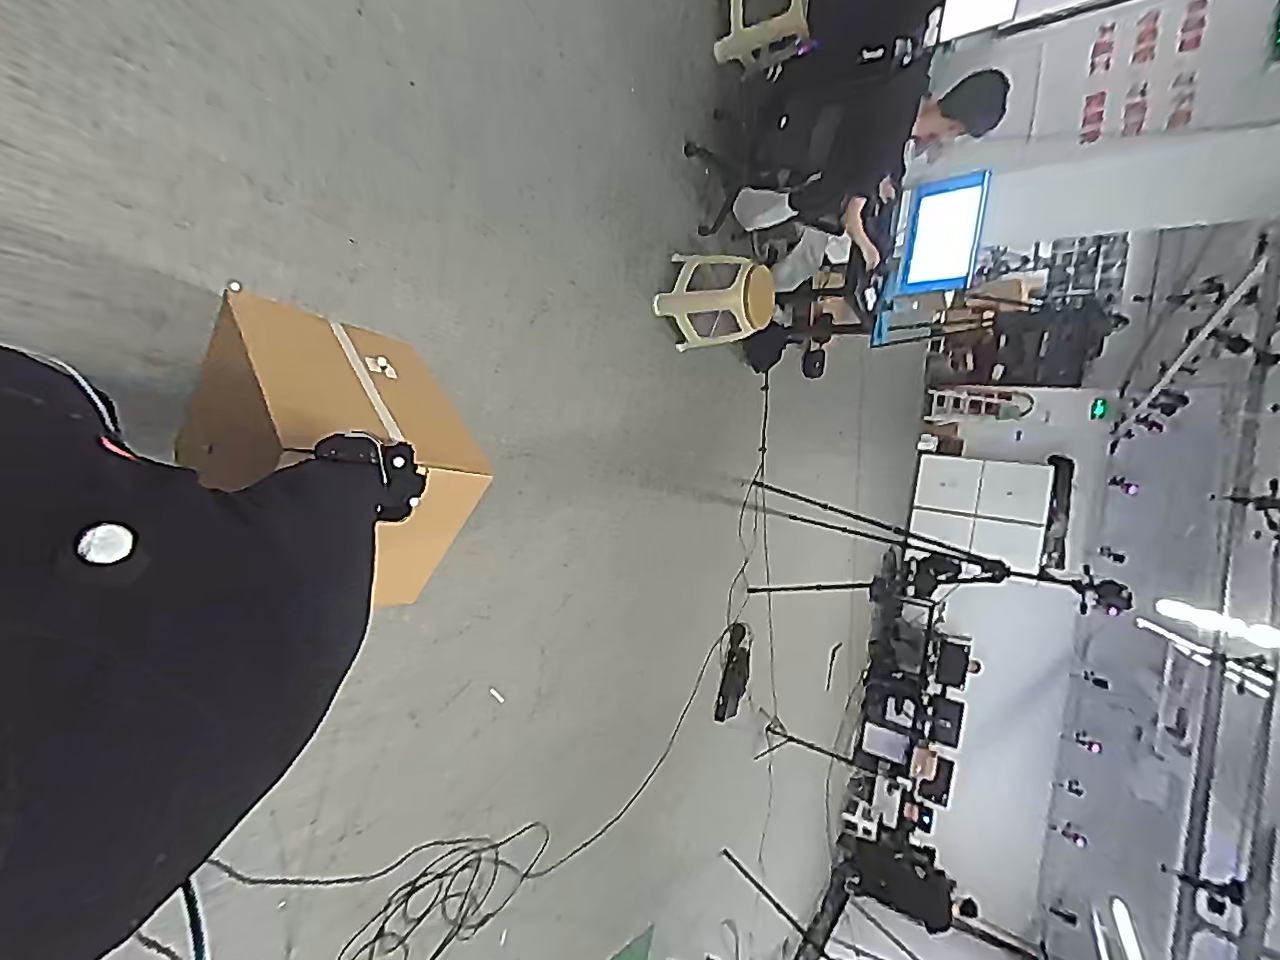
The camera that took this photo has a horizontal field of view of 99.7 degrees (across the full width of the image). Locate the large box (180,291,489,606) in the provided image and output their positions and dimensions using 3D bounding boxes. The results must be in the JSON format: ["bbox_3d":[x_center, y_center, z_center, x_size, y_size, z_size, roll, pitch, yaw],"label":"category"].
[{"bbox_3d":[-0.535,-0.047,0.930,0.320,0.408,0.320,9,123,-53],"label":"large box"}]
